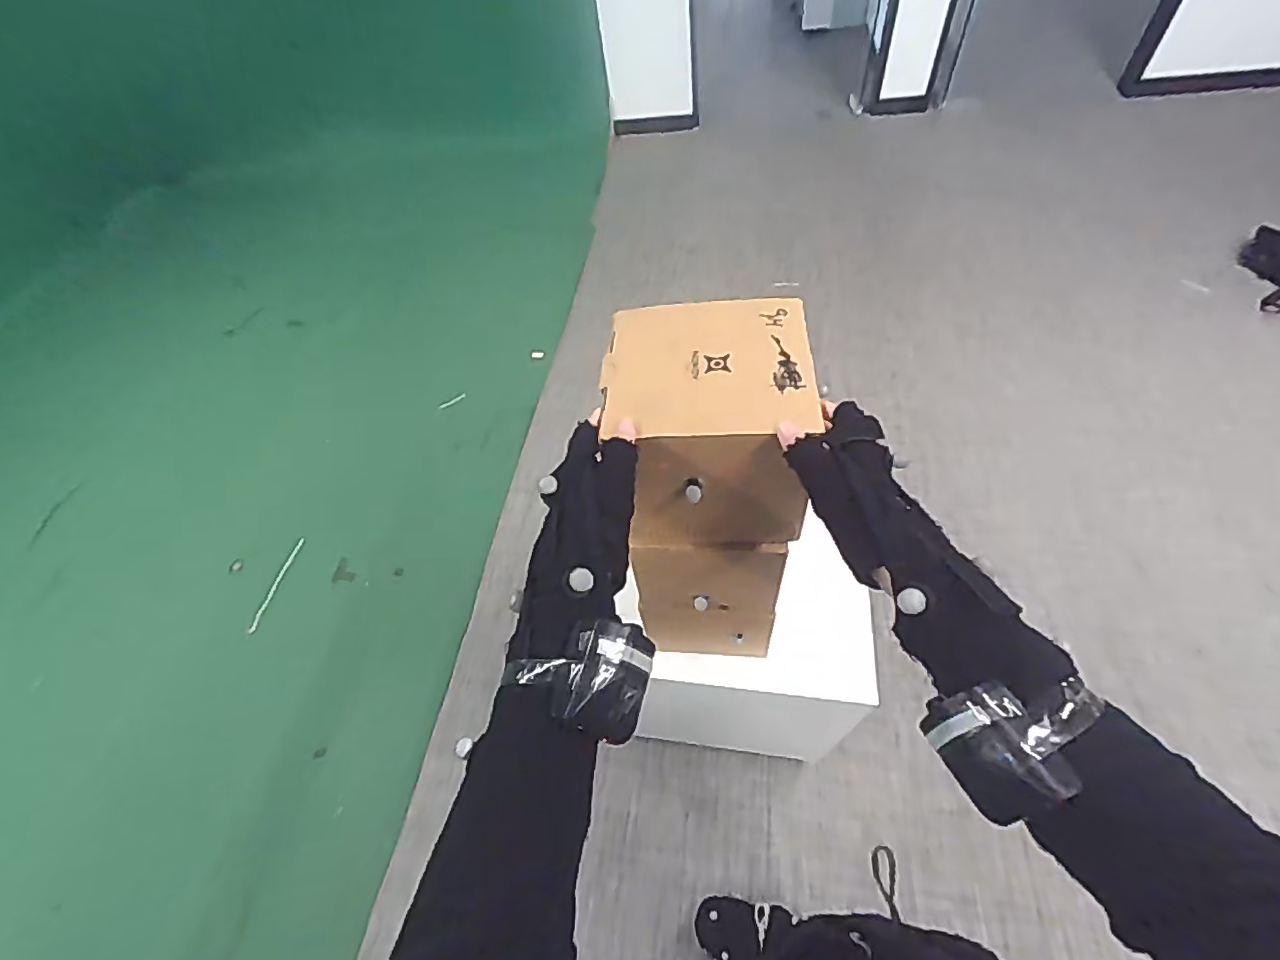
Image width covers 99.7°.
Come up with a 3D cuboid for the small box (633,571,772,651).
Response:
[{"bbox_3d":[0.095,0.140,0.784,0.179,0.176,0.168,-1,55,10],"label":"small box"}]

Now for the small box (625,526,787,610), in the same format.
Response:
[{"bbox_3d":[0.079,0.040,0.654,0.168,0.176,0.179,-1,53,8],"label":"small box"}]

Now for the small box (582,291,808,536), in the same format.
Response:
[{"bbox_3d":[0.057,-0.055,0.520,0.179,0.176,0.168,-1,55,9],"label":"small box"}]
